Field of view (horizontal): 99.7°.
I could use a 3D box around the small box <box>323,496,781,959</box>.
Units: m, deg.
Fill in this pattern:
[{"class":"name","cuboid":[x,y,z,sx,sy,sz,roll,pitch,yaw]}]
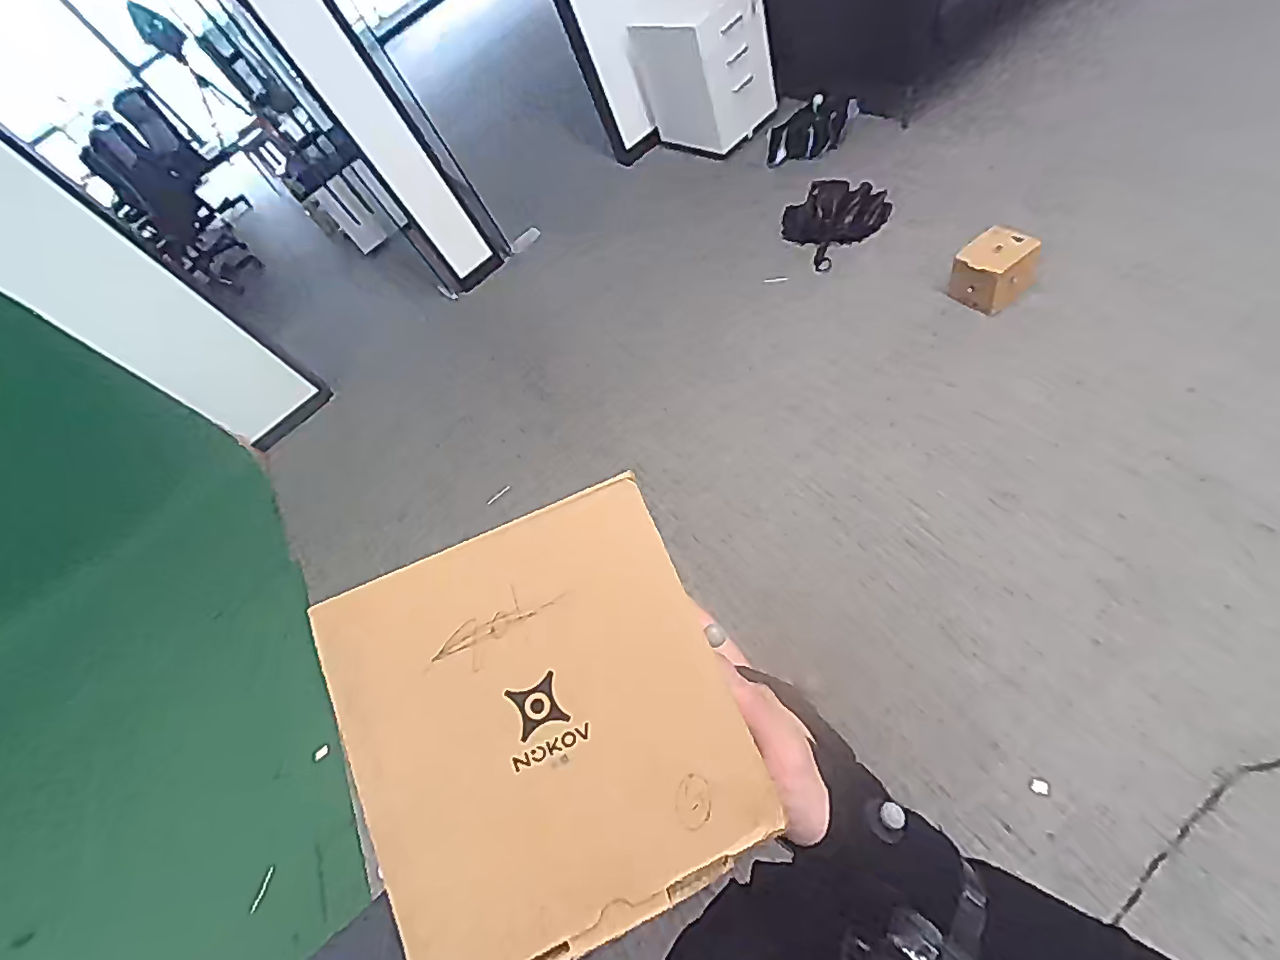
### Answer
[{"class":"small box","cuboid":[-0.044,0.134,0.323,0.168,0.176,0.179,-23,75,-8]}]
